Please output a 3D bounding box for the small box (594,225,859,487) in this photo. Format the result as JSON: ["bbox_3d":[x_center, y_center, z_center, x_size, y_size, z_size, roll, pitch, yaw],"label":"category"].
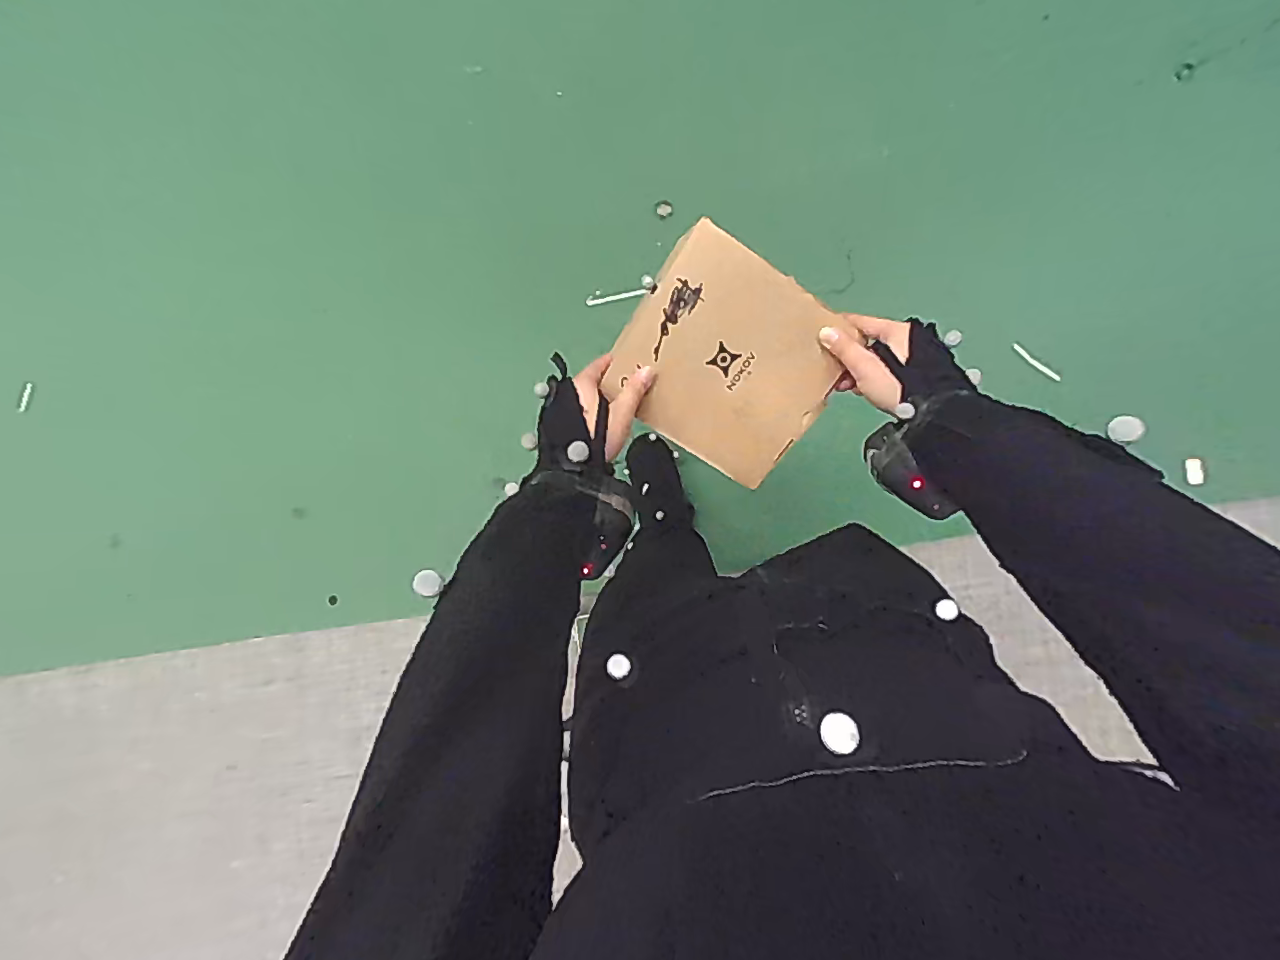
[{"bbox_3d":[0.073,-0.126,0.542,0.179,0.176,0.168,31,106,-12],"label":"small box"}]
